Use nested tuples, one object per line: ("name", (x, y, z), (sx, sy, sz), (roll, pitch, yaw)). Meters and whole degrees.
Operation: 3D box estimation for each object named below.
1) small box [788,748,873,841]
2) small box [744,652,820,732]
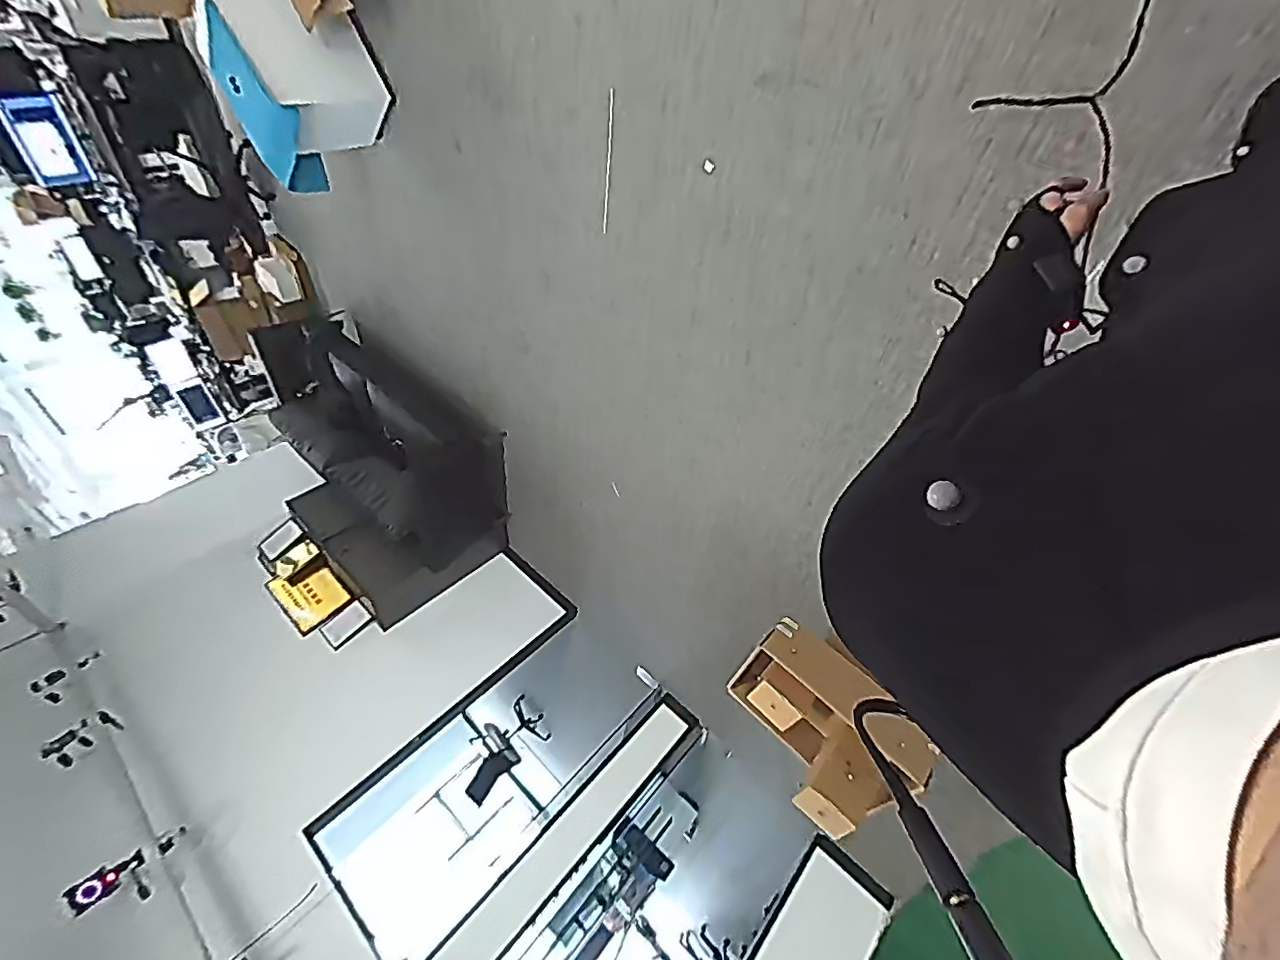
("small box", (0.604, 0.990, 1.709), (0.168, 0.176, 0.179), (37, 140, 22))
("small box", (0.505, 0.747, 1.913), (0.168, 0.176, 0.179), (41, 141, 20))
